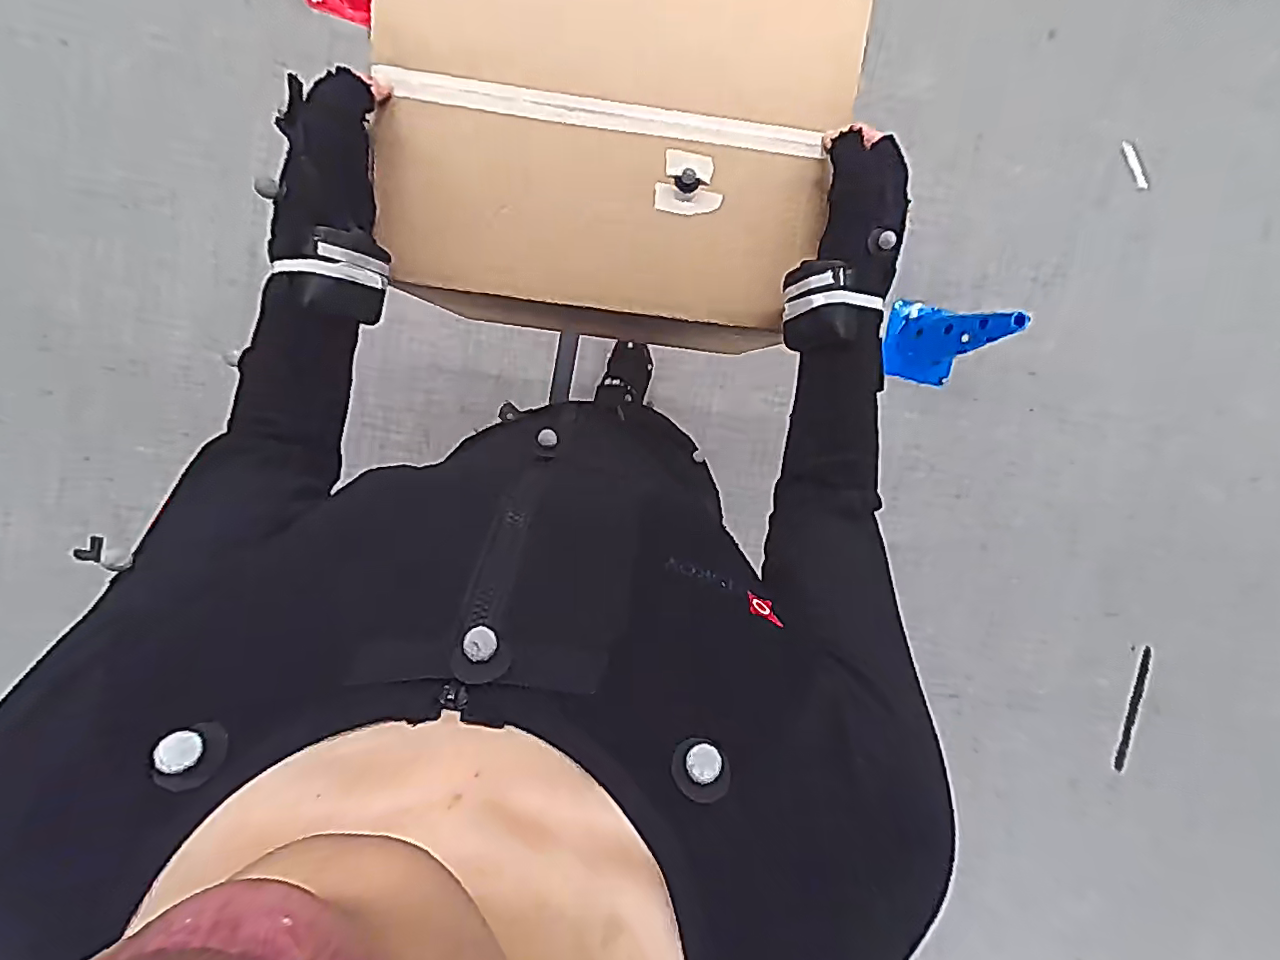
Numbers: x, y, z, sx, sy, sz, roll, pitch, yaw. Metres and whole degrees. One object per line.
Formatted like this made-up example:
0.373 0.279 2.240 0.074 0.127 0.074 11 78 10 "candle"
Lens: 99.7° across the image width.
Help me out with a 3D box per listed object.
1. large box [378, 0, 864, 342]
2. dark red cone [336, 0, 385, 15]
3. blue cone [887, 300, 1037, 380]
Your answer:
-0.028 -0.345 0.608 0.408 0.320 0.320 6 100 -4 "large box"
-0.659 -1.181 1.083 0.201 0.394 0.202 15 96 -6 "dark red cone"
0.779 -0.357 1.293 0.192 0.380 0.193 13 96 -5 "blue cone"
